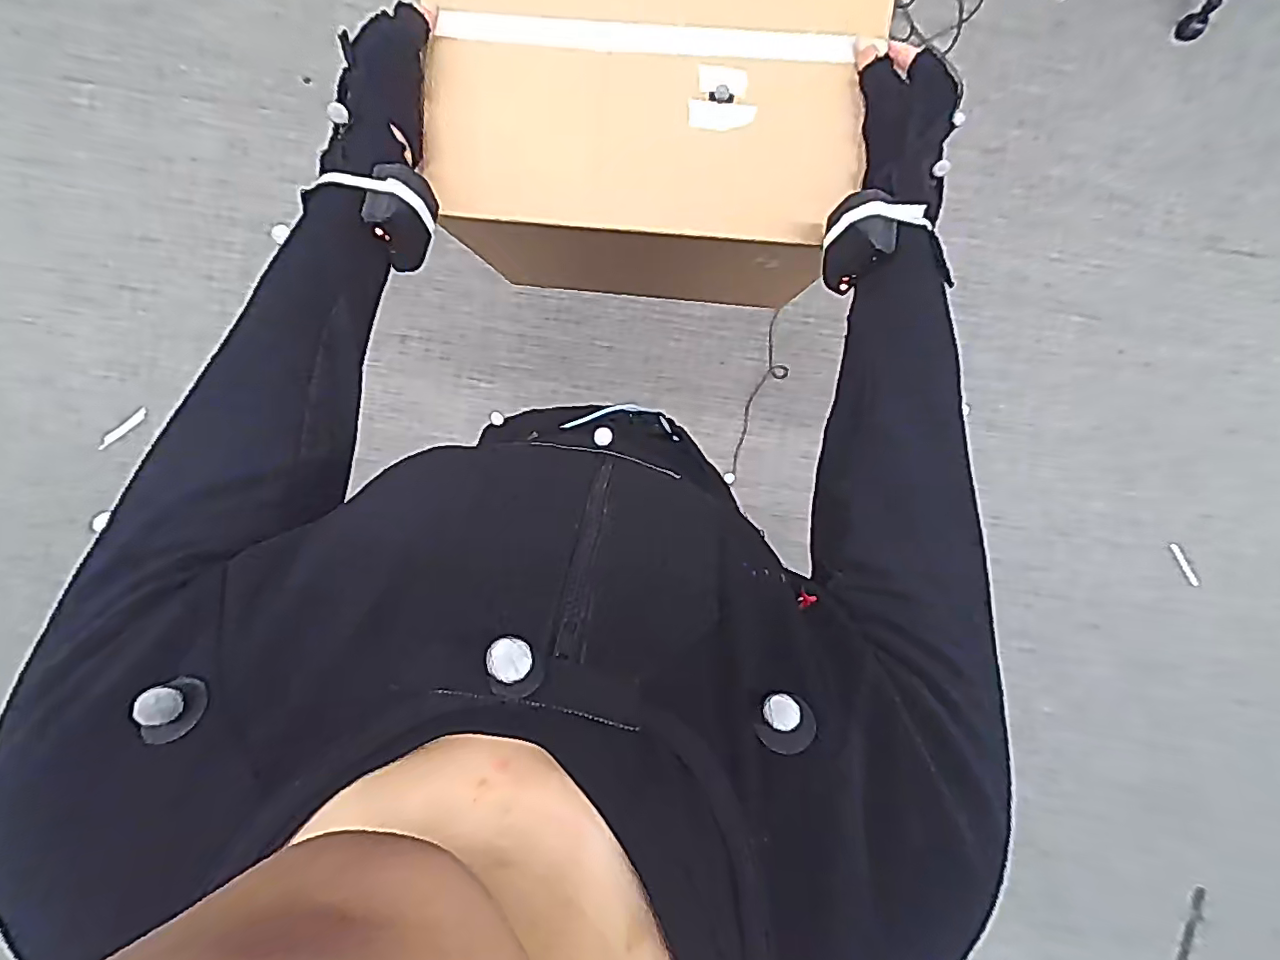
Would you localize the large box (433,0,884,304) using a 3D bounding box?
[{"bbox_3d":[0.016,-0.403,0.633,0.408,0.320,0.320,5,98,1],"label":"large box"}]
